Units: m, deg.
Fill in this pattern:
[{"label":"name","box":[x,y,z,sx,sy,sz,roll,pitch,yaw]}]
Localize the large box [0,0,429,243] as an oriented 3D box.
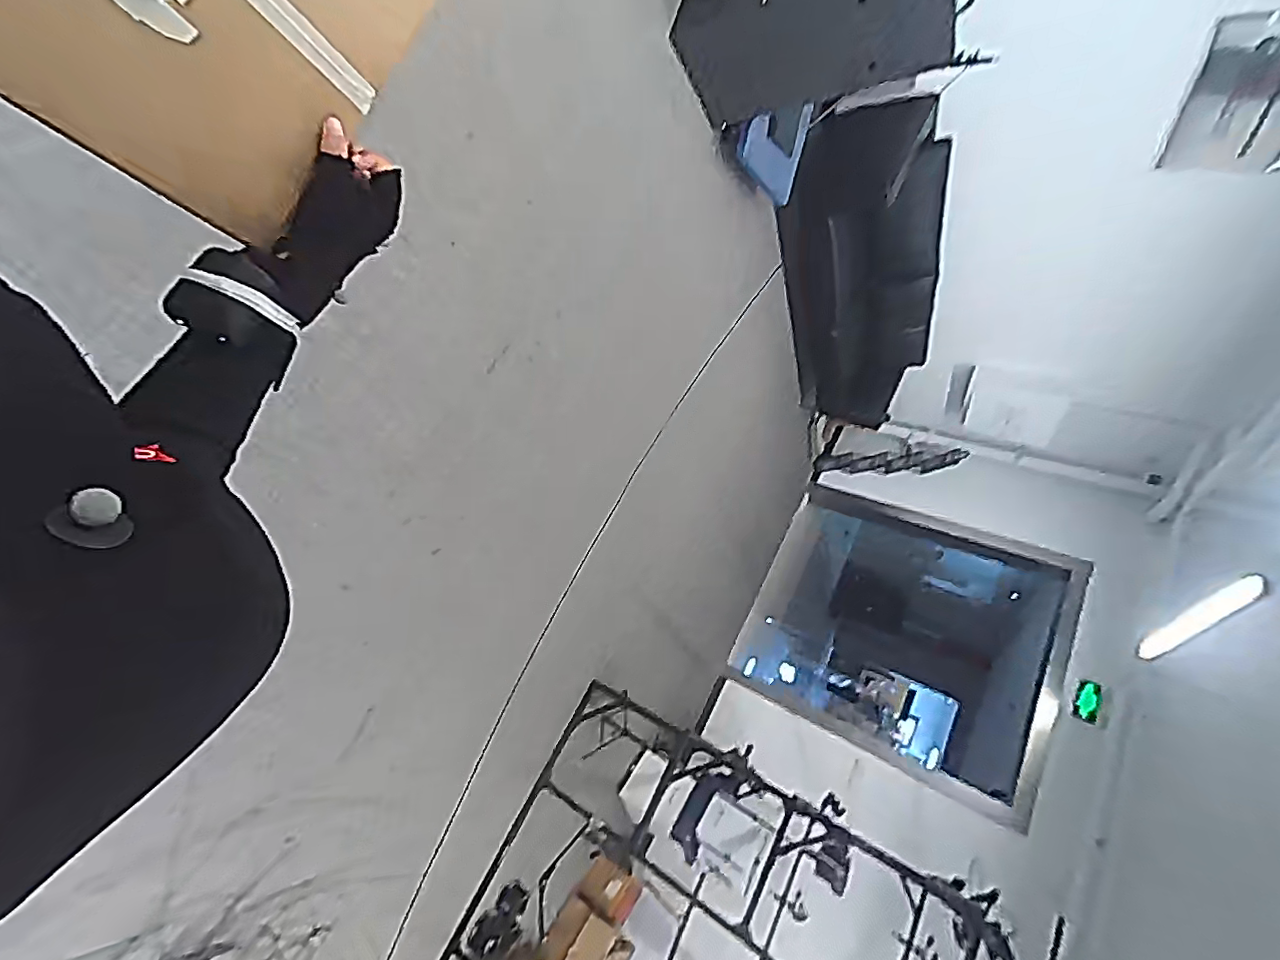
[{"label":"large box","box":[-0.434,-0.451,0.378,0.320,0.320,0.408,-57,148,0]}]
